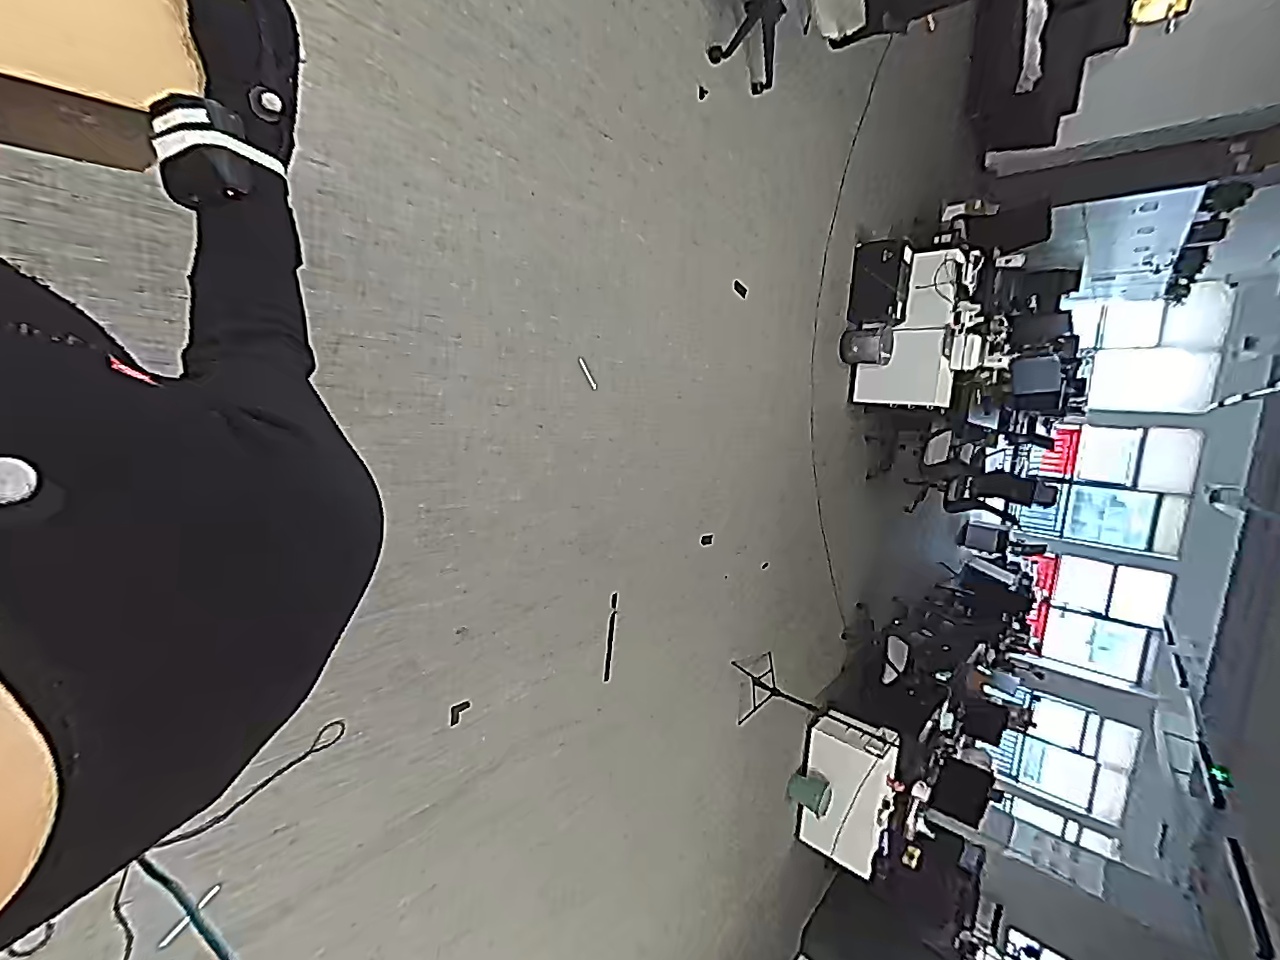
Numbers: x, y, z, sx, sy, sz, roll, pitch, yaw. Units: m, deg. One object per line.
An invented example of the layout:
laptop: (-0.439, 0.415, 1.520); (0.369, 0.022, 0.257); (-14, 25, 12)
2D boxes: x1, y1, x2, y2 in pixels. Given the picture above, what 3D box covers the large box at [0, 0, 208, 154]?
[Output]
large box: (-0.572, -0.439, 0.329); (0.408, 0.320, 0.320); (-14, 116, -48)
